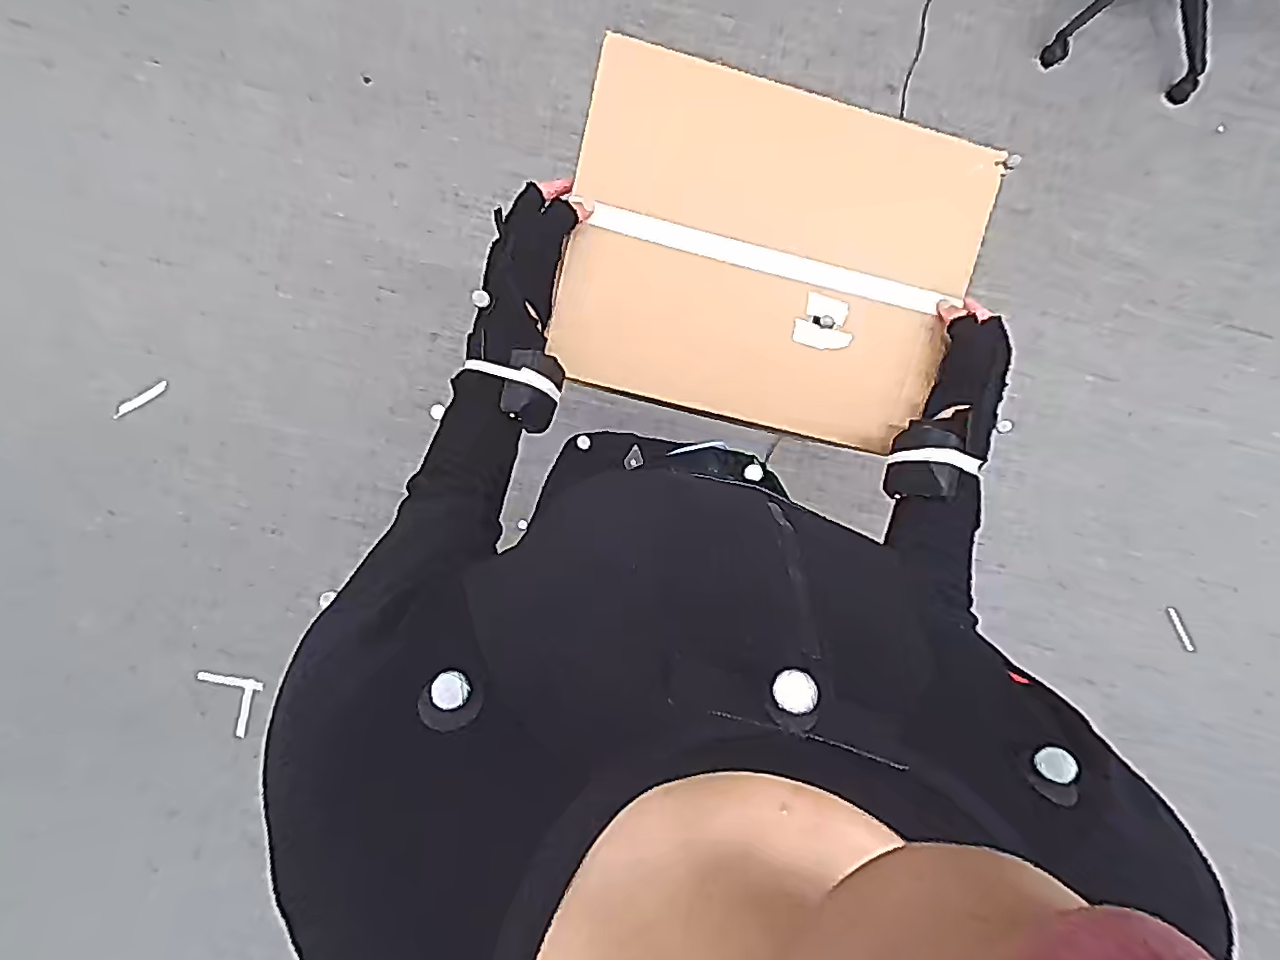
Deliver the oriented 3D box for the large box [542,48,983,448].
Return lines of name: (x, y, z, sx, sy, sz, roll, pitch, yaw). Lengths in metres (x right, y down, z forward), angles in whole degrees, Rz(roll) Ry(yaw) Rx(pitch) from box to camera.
large box: (0.112, -0.245, 0.695, 0.408, 0.320, 0.320, 13, 99, -6)
